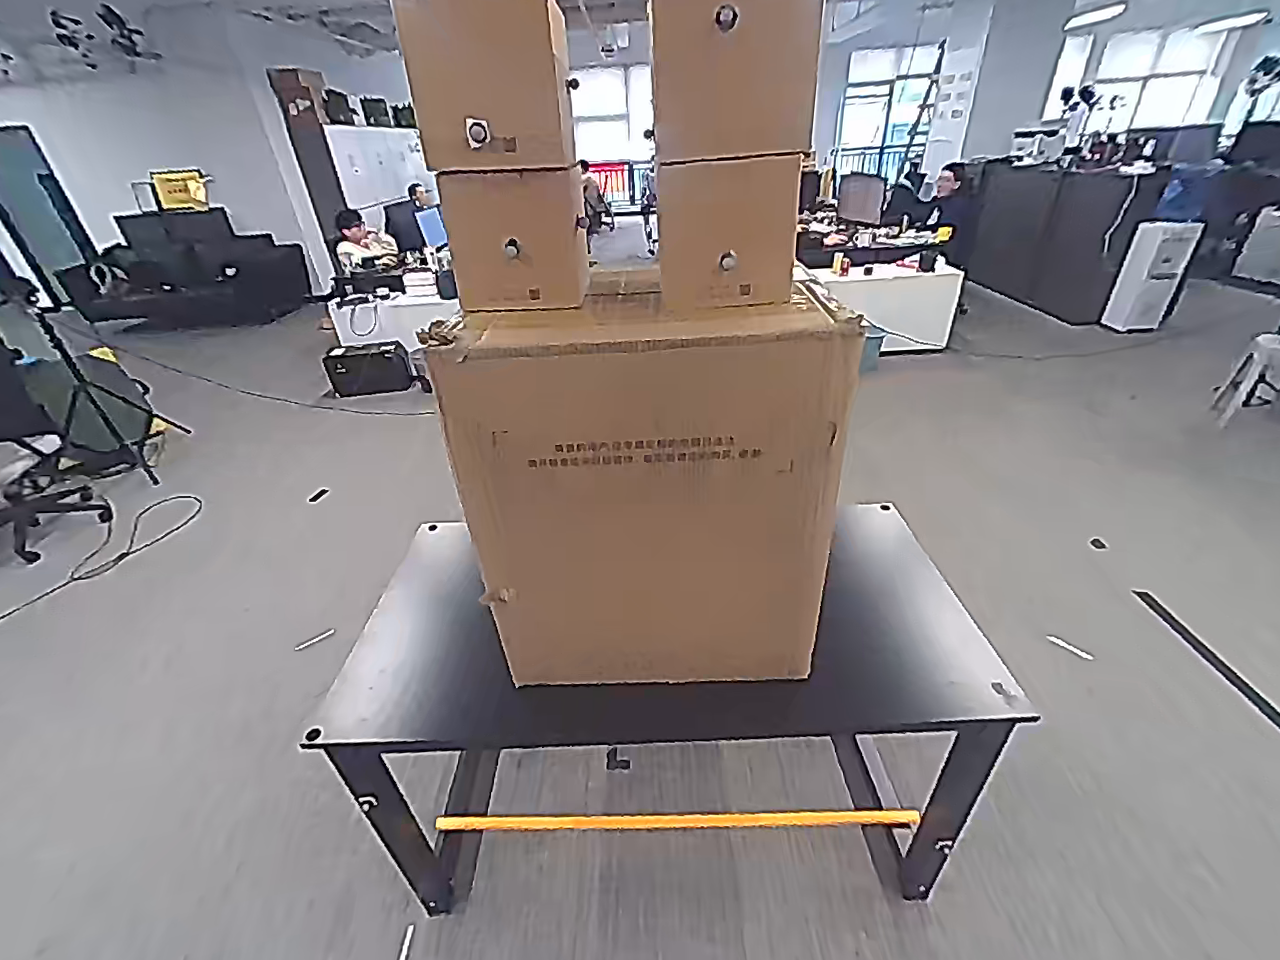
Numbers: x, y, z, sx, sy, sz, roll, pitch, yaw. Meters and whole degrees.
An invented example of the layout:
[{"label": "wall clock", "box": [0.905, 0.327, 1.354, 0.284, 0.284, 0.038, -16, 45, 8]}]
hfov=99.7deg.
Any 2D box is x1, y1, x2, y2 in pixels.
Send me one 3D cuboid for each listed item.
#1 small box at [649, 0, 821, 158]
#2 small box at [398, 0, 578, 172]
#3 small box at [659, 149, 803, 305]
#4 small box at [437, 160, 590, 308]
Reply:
[{"label": "small box", "box": [0.104, -0.477, 0.632, 0.179, 0.176, 0.168, -3, 32, 2]}, {"label": "small box", "box": [-0.169, -0.477, 0.663, 0.168, 0.176, 0.179, -3, 32, 0]}, {"label": "small box", "box": [0.110, -0.341, 0.725, 0.168, 0.176, 0.179, -4, 32, 3]}, {"label": "small box", "box": [-0.162, -0.346, 0.761, 0.168, 0.176, 0.179, -2, 33, 0]}]
